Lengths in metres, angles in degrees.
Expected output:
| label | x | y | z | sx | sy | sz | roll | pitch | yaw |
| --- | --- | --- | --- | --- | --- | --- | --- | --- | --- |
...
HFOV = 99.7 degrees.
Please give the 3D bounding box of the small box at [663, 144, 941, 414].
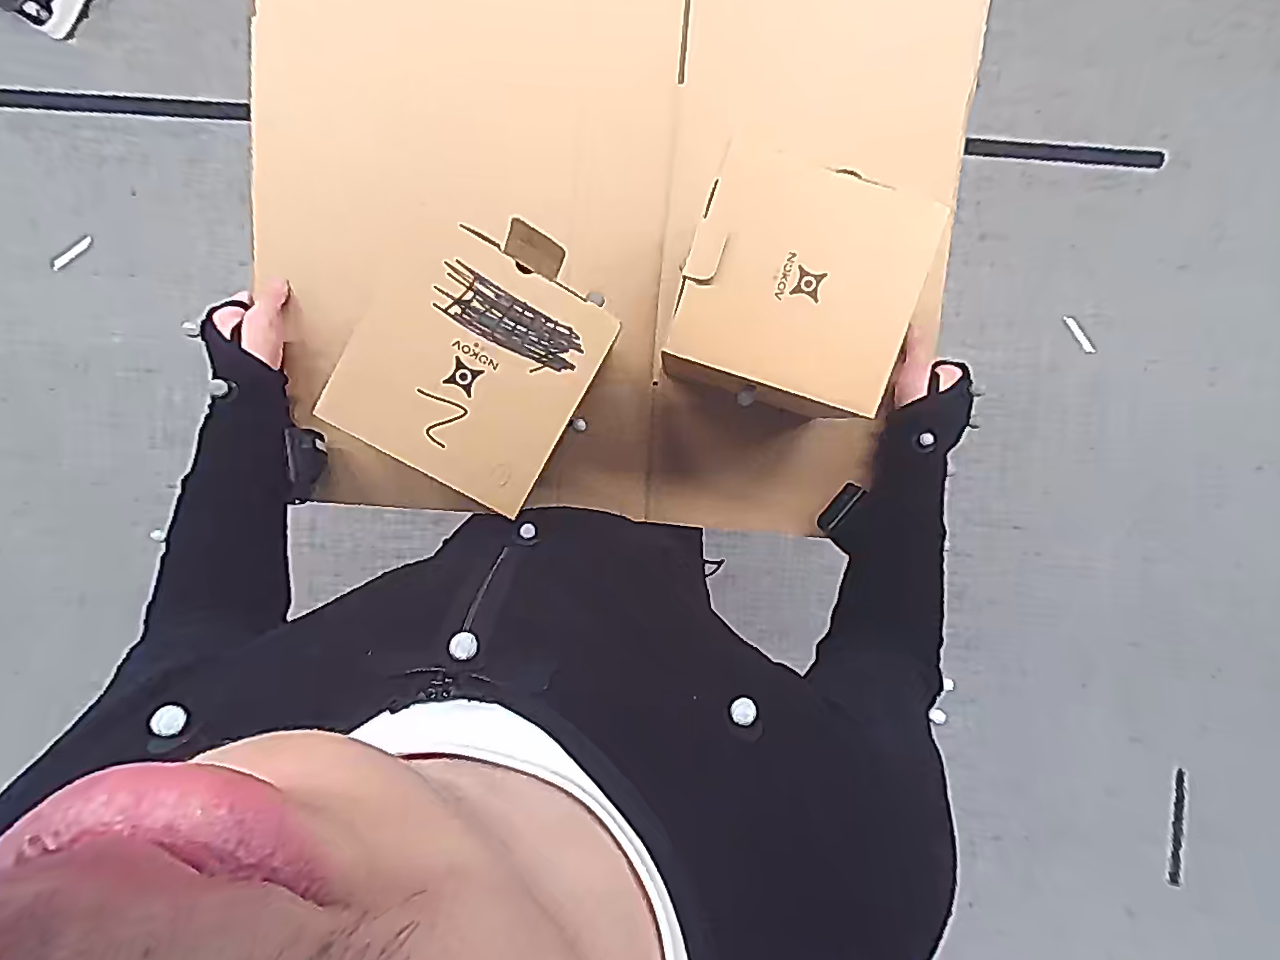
| label | x | y | z | sx | sy | sz | roll | pitch | yaw |
| --- | --- | --- | --- | --- | --- | --- | --- | --- | --- |
| small box | 0.130 | -0.167 | 0.504 | 0.179 | 0.176 | 0.168 | 18 | 97 | 2 |
